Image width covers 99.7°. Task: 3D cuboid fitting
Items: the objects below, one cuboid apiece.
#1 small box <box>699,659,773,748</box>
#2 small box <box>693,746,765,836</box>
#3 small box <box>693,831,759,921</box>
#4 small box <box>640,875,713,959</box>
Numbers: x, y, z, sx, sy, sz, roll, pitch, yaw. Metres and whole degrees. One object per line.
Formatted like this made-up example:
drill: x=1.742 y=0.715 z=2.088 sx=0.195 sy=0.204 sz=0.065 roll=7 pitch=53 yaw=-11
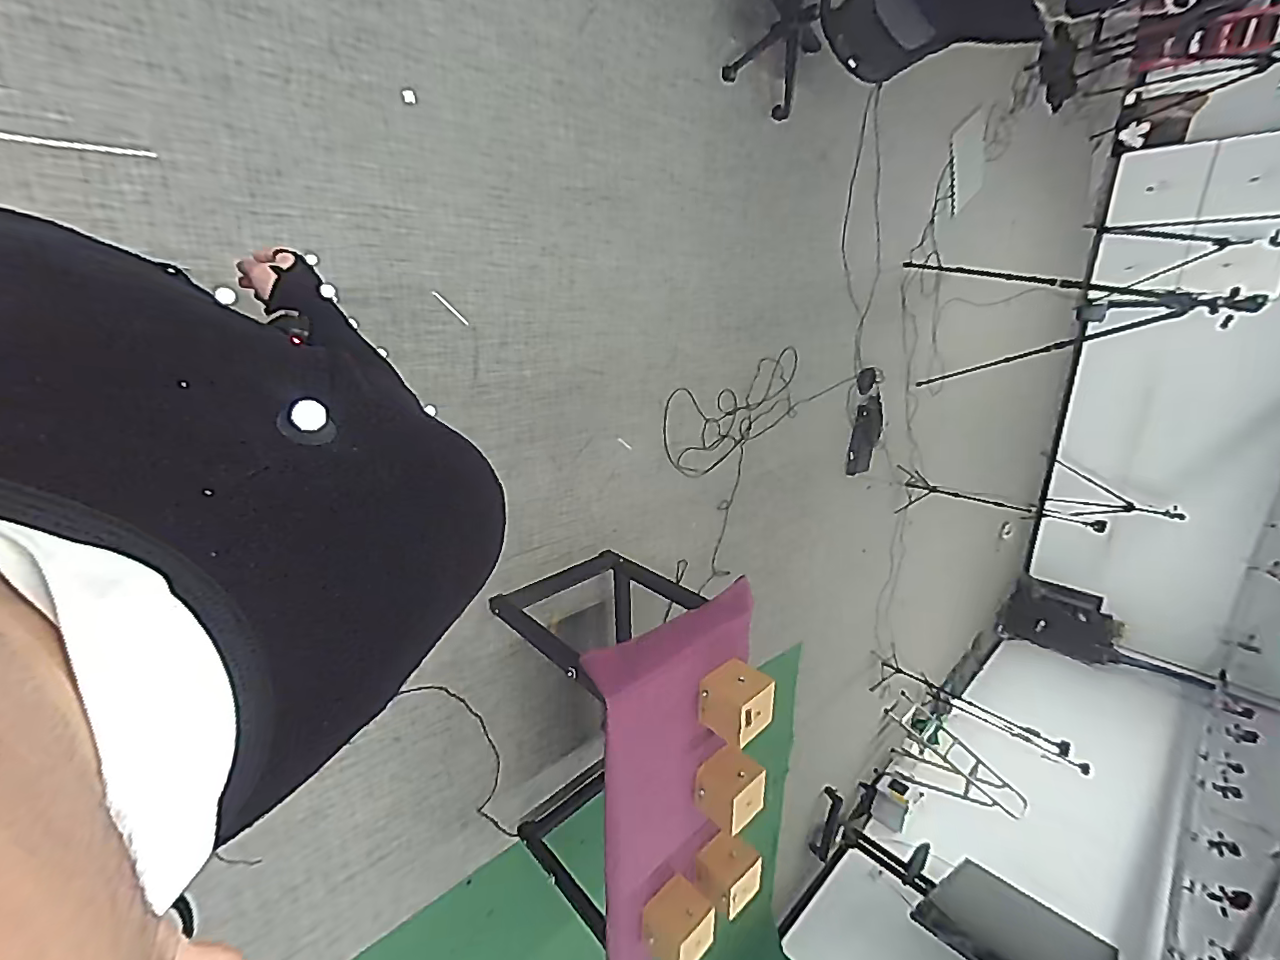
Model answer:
small box: x=0.305 y=0.710 z=1.737 sx=0.179 sy=0.176 sz=0.168 roll=-17 pitch=115 yaw=-40
small box: x=0.302 y=1.052 z=1.847 sx=0.179 sy=0.176 sz=0.168 roll=-15 pitch=112 yaw=-40
small box: x=0.313 y=1.433 z=1.977 sx=0.179 sy=0.176 sz=0.168 roll=-16 pitch=113 yaw=-40
small box: x=0.122 y=1.483 z=1.805 sx=0.179 sy=0.176 sz=0.168 roll=-14 pitch=112 yaw=-42
